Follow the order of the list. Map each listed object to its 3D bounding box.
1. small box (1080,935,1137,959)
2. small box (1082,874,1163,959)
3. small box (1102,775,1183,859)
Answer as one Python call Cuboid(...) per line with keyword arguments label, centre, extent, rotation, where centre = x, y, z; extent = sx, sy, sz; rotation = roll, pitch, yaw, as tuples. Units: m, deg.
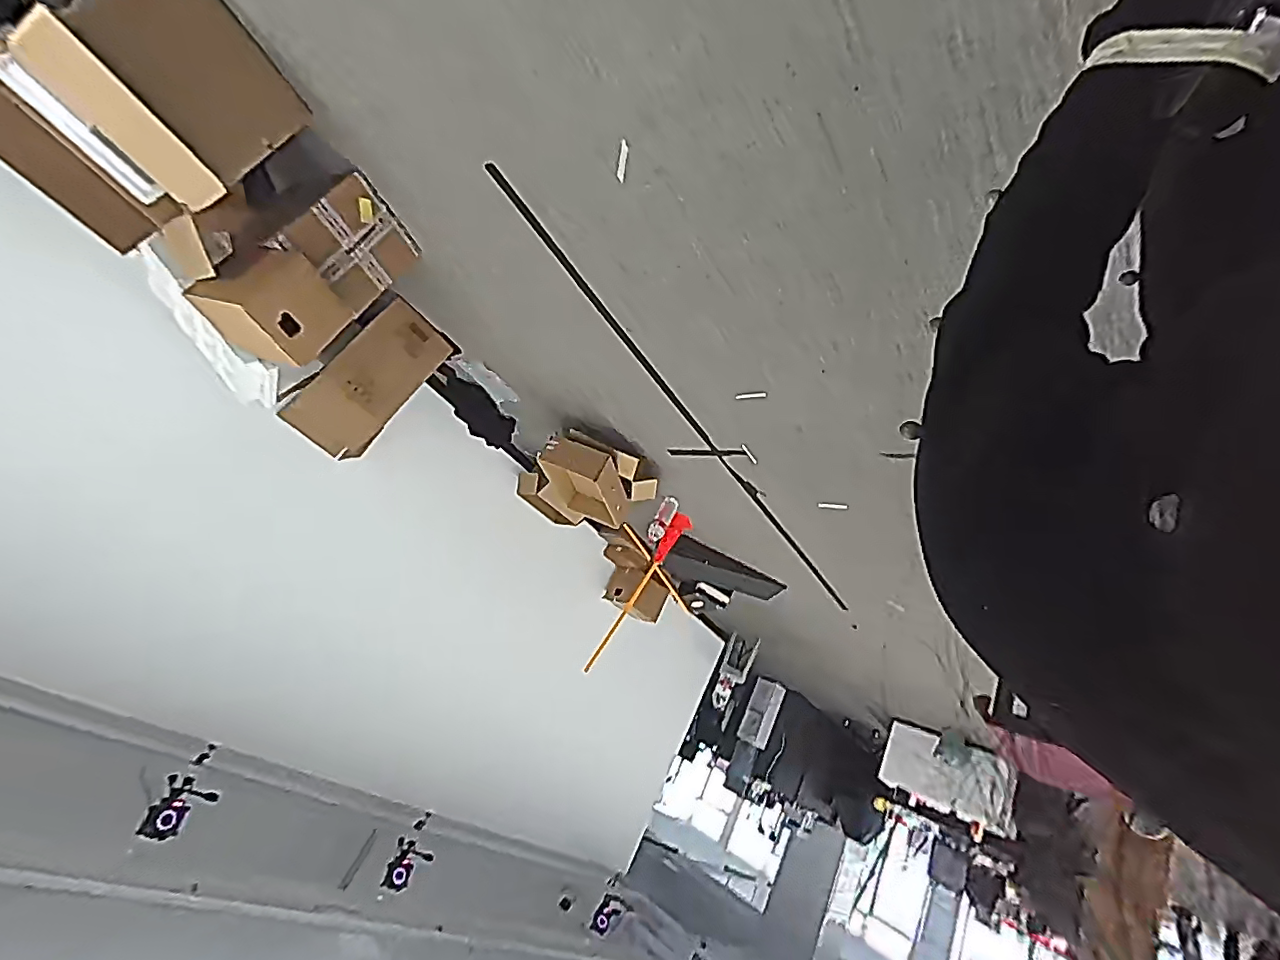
Cuboid(label="small box", centre=(1.435, 1.504, 1.617), extent=(0.179, 0.176, 0.168), rotation=(1, 145, 49))
Cuboid(label="small box", centre=(1.498, 1.365, 1.676), extent=(0.168, 0.176, 0.179), rotation=(2, 146, 49))
Cuboid(label="small box", centre=(1.660, 1.101, 1.783), extent=(0.179, 0.176, 0.168), rotation=(1, 146, 48))
